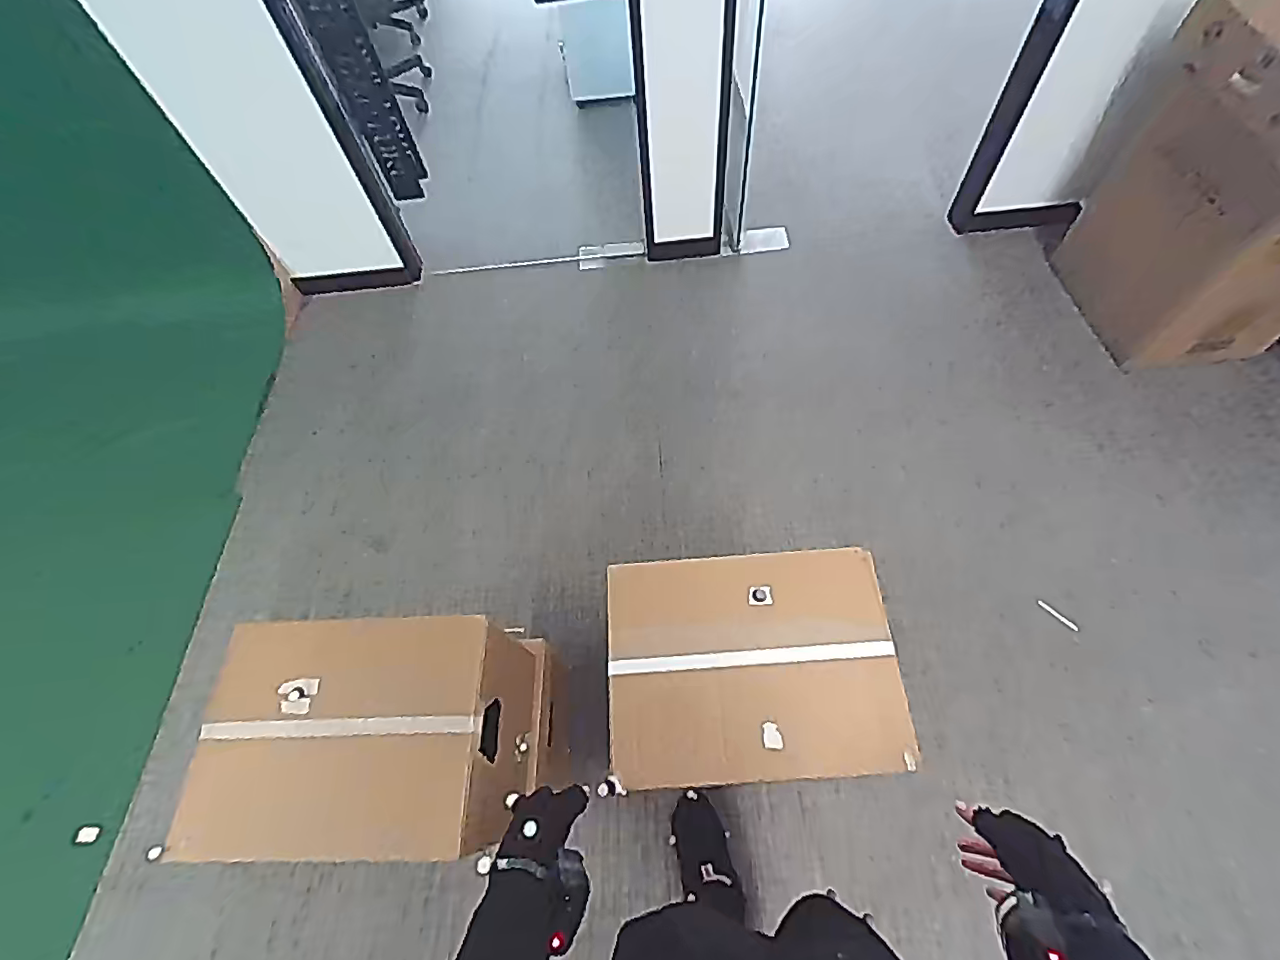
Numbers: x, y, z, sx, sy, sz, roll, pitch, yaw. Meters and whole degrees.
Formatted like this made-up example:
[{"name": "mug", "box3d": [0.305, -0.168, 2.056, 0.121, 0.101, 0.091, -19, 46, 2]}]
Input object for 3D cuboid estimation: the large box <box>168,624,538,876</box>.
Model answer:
[{"name": "large box", "box3d": [-0.408, 0.434, 0.890, 0.408, 0.320, 0.320, -3, 61, 5]}]
